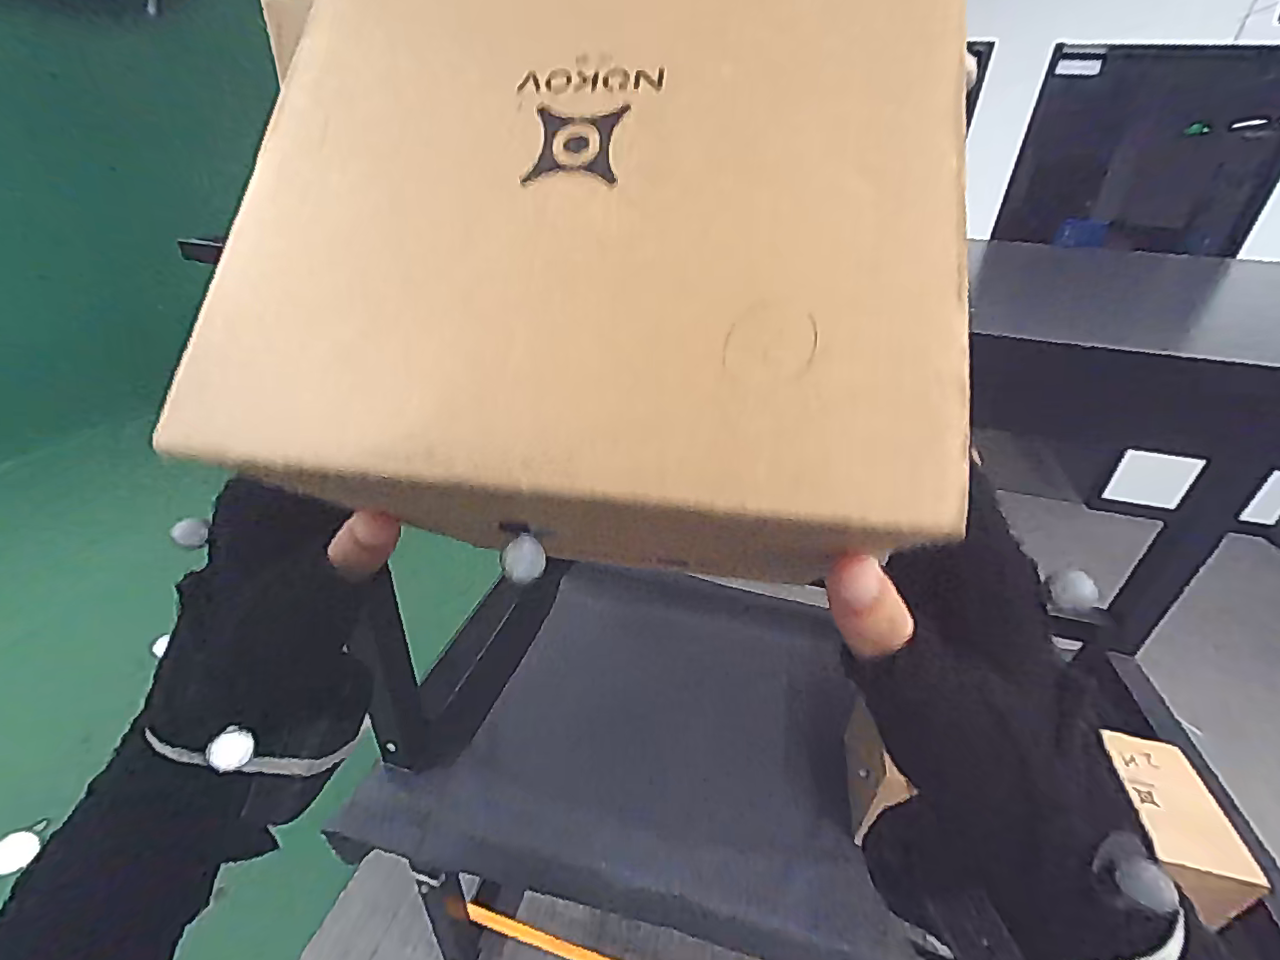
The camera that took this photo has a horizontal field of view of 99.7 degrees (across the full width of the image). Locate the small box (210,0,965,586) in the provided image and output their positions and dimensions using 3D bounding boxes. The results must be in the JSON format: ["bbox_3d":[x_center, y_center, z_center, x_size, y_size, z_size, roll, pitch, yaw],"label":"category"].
[{"bbox_3d":[0.001,-0.058,0.208,0.168,0.179,0.176,5,-14,9],"label":"small box"}]

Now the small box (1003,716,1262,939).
[{"bbox_3d":[0.622,0.456,0.717,0.168,0.176,0.179,10,30,10],"label":"small box"}]
